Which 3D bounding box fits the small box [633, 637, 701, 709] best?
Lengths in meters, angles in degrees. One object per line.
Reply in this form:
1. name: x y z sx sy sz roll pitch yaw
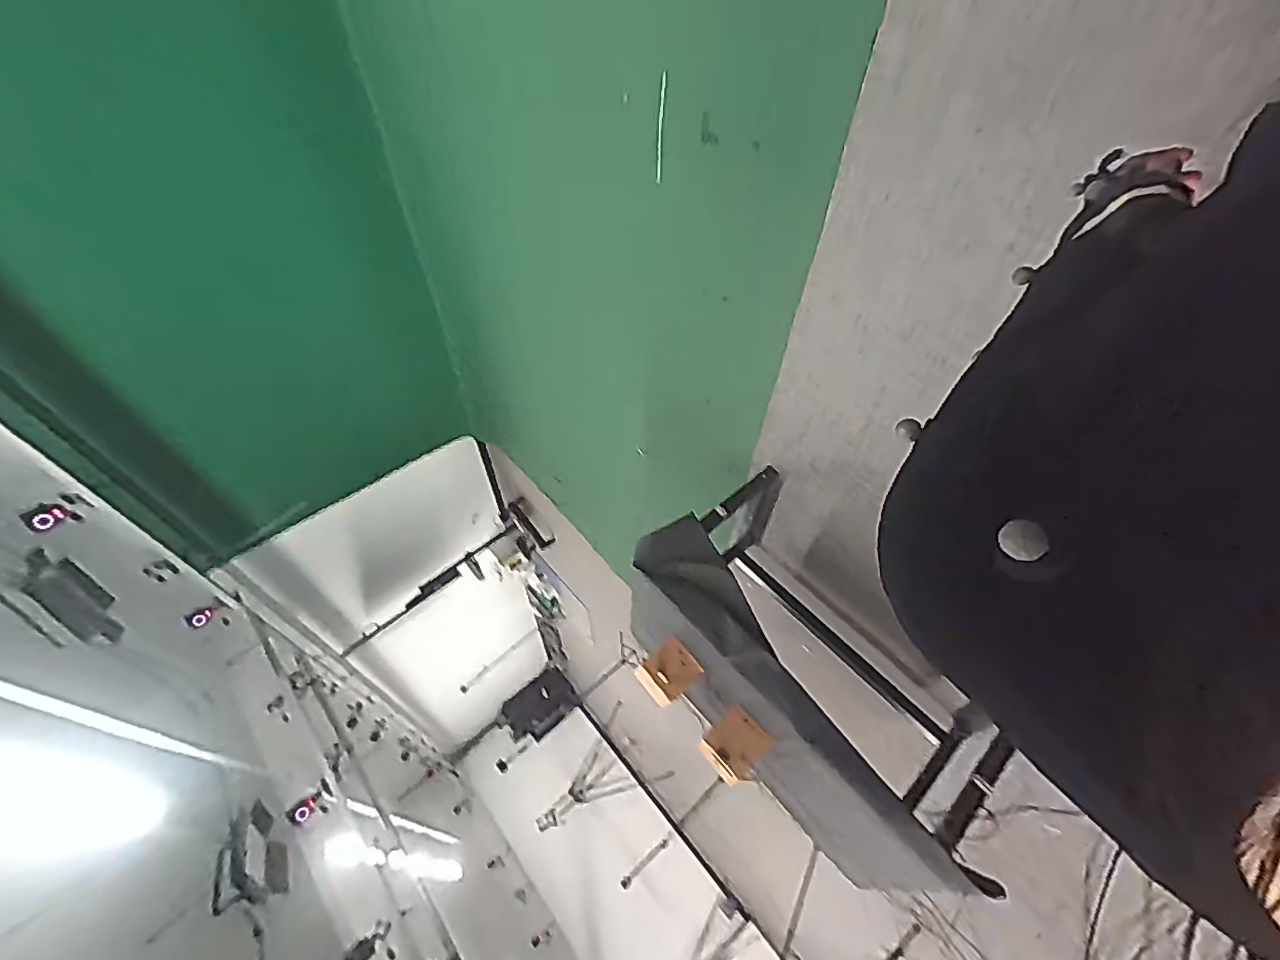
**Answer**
1. small box: 0.097 0.699 1.963 0.168 0.176 0.179 48 154 17
